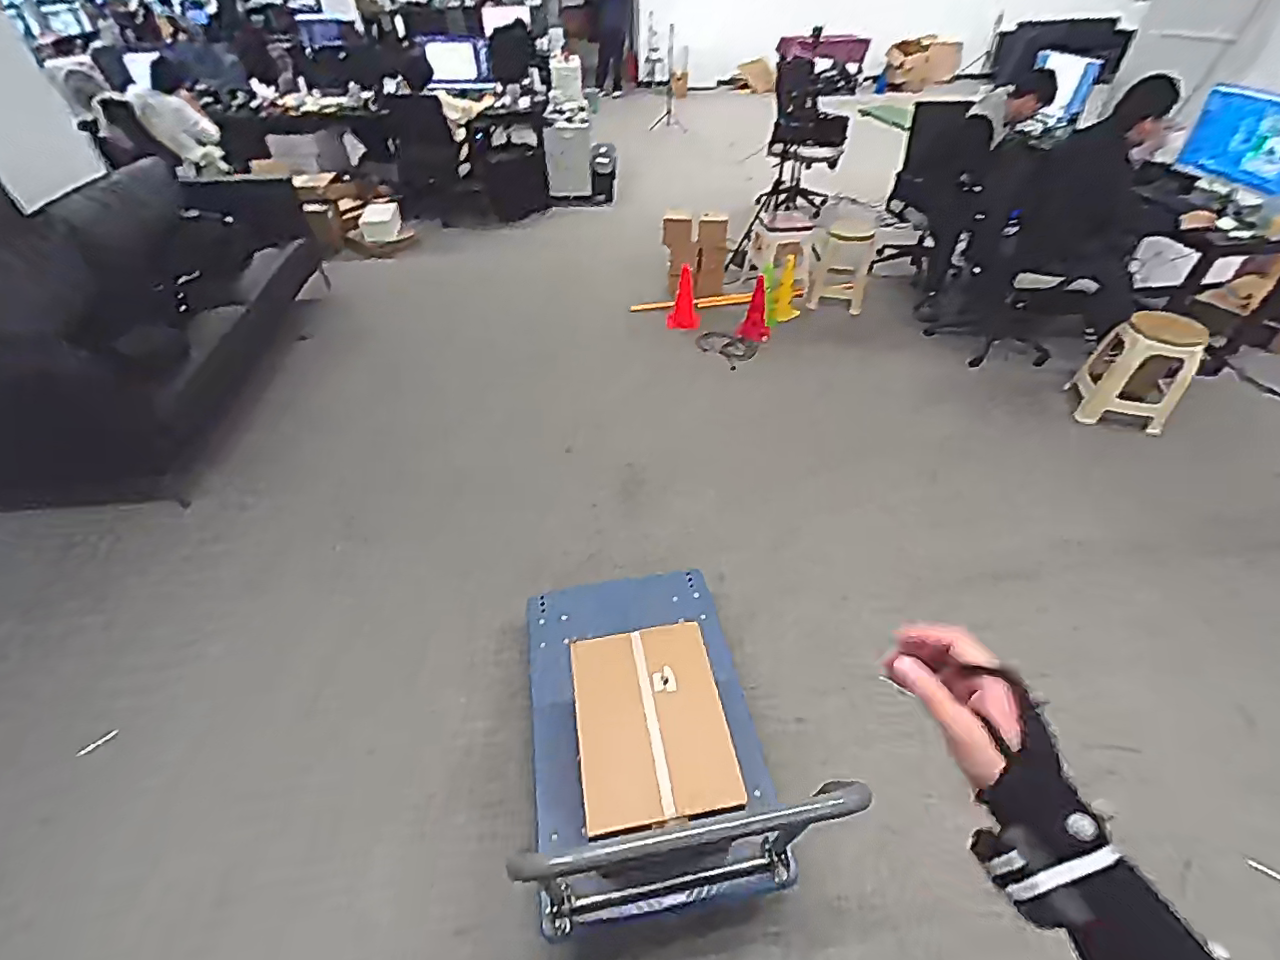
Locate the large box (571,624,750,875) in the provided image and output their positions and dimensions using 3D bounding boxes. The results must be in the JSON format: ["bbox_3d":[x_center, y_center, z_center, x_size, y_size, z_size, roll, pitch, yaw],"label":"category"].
[{"bbox_3d":[0.031,0.613,1.253,0.320,0.320,0.408,-8,43,-7],"label":"large box"}]
